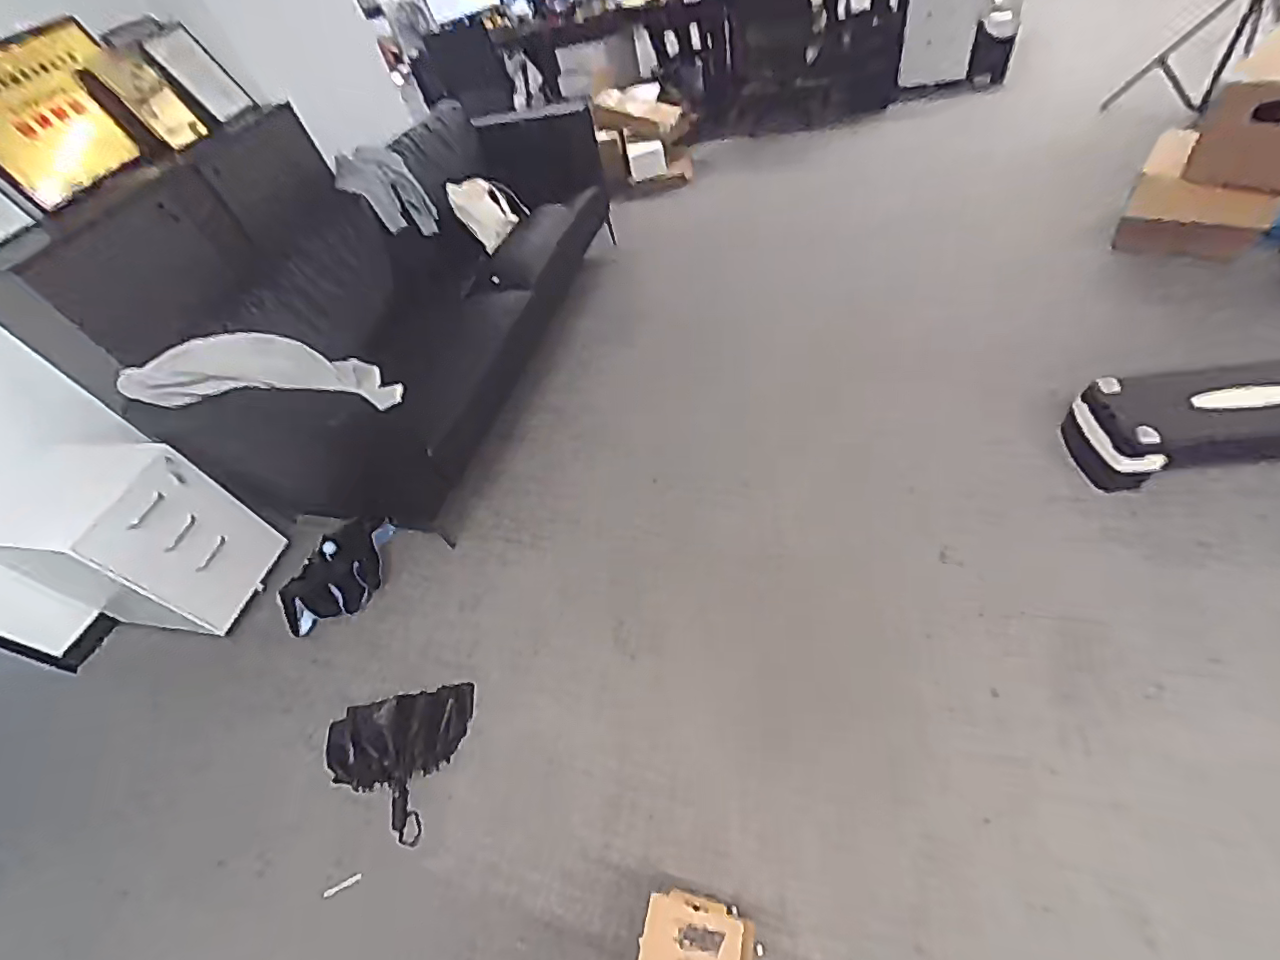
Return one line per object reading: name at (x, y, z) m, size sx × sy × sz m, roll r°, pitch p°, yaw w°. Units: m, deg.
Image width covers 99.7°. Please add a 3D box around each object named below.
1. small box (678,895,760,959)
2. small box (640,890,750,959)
small box at (0.142, 0.948, 1.064) m, size 0.168 × 0.176 × 0.179 m, roll 2°, pitch 53°, yaw 19°
small box at (0.096, 0.848, 0.941) m, size 0.168 × 0.176 × 0.179 m, roll 3°, pitch 53°, yaw 20°
